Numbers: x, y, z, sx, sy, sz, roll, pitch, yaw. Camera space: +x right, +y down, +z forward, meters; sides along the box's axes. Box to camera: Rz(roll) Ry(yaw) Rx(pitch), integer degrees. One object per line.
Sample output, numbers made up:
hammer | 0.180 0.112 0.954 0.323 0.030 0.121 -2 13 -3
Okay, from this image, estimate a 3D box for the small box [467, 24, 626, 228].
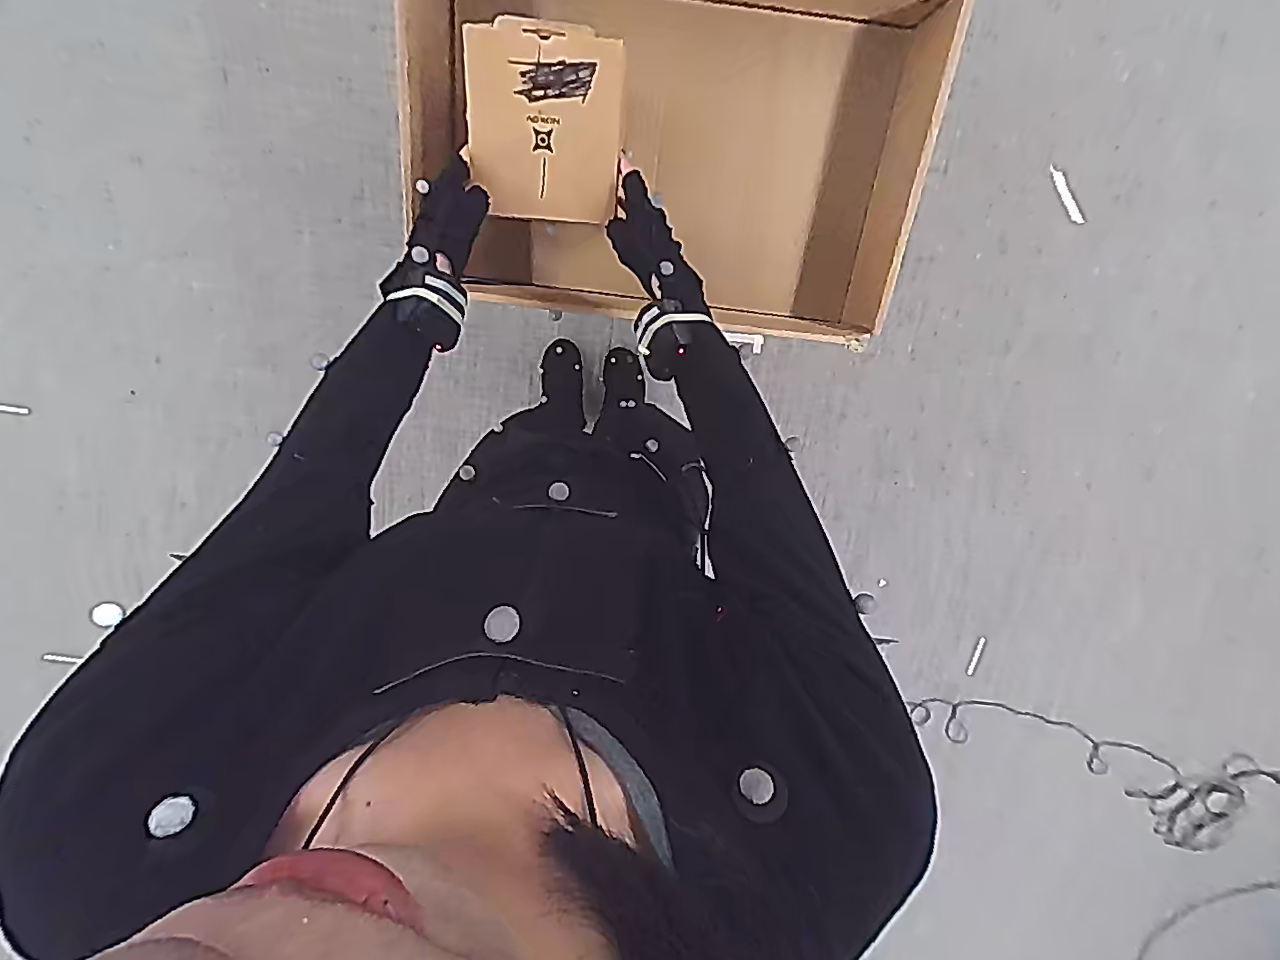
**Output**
small box | -0.105 -0.411 0.659 0.168 0.176 0.179 4 115 -2
